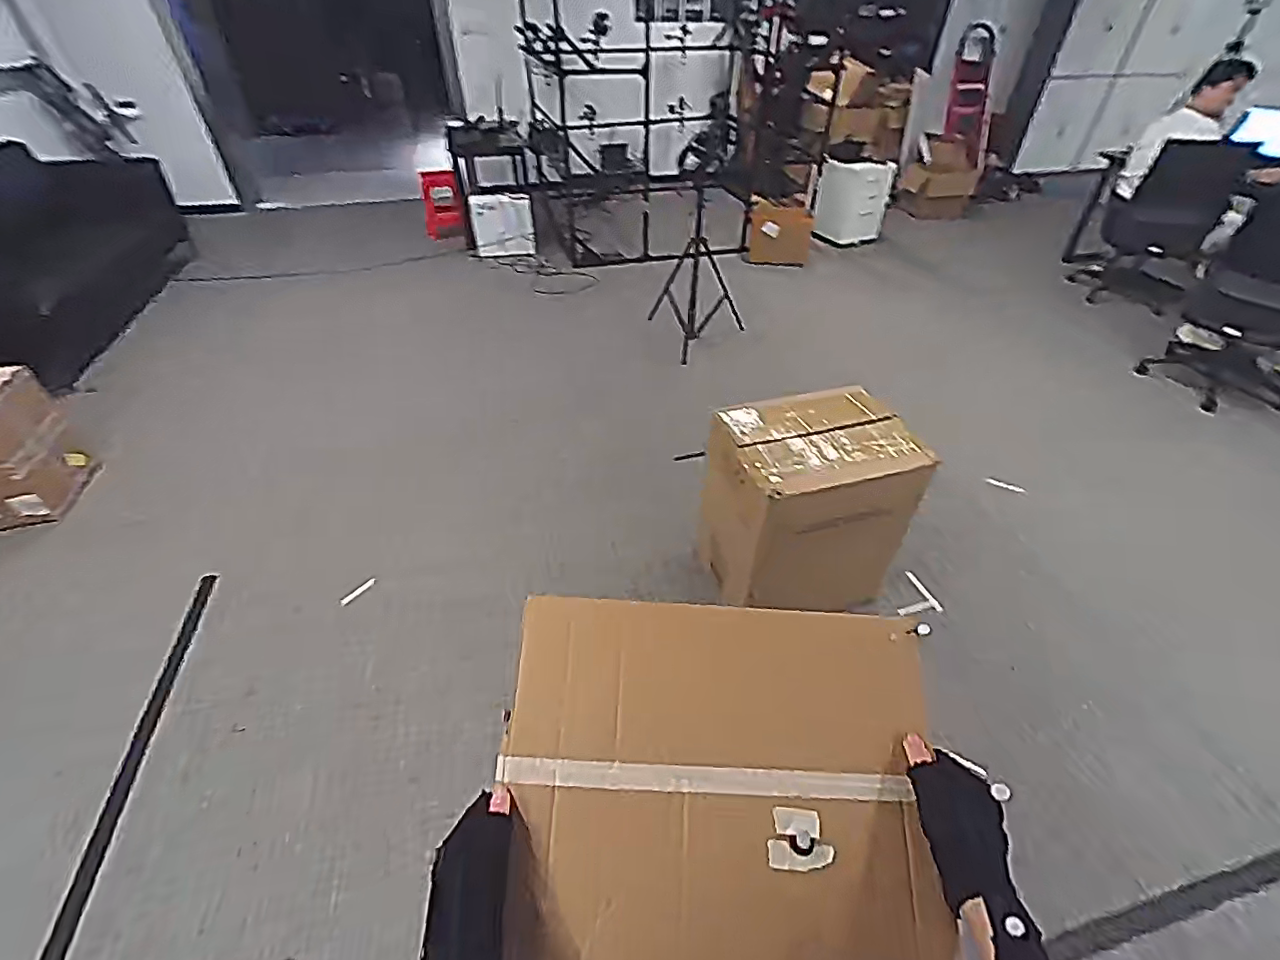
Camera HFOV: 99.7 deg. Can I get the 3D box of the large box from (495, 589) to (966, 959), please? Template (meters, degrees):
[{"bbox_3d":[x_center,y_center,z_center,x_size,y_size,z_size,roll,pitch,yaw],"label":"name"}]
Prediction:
[{"bbox_3d":[0.074,0.321,0.638,0.408,0.320,0.320,4,69,-2],"label":"large box"}]
